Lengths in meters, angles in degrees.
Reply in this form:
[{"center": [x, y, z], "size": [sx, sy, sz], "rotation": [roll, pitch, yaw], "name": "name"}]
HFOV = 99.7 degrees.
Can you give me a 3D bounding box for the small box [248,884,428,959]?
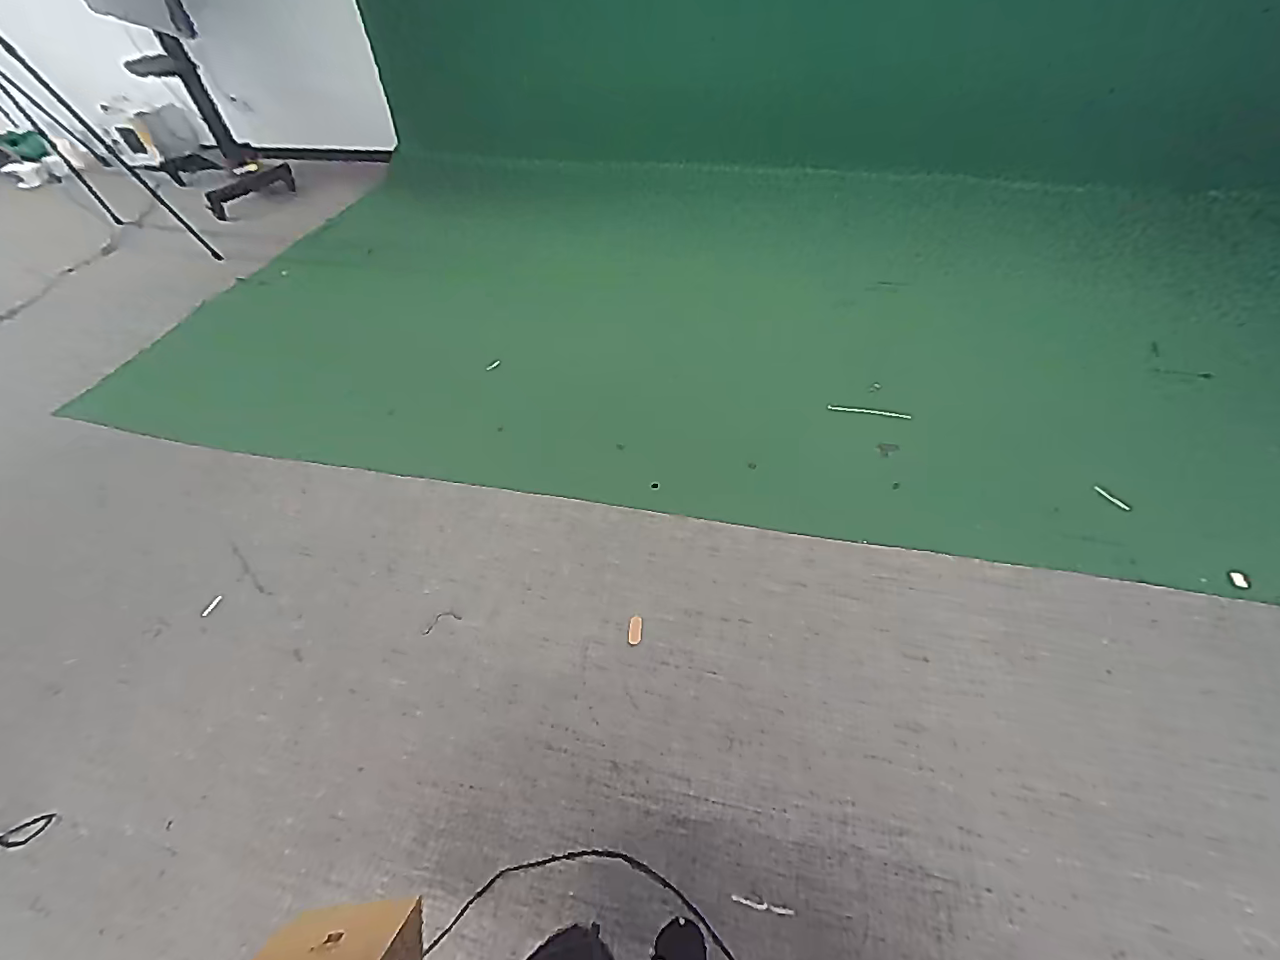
[{"center": [-0.367, 0.637, 0.654], "size": [0.168, 0.179, 0.176], "rotation": [-5, 80, -4], "name": "small box"}]
